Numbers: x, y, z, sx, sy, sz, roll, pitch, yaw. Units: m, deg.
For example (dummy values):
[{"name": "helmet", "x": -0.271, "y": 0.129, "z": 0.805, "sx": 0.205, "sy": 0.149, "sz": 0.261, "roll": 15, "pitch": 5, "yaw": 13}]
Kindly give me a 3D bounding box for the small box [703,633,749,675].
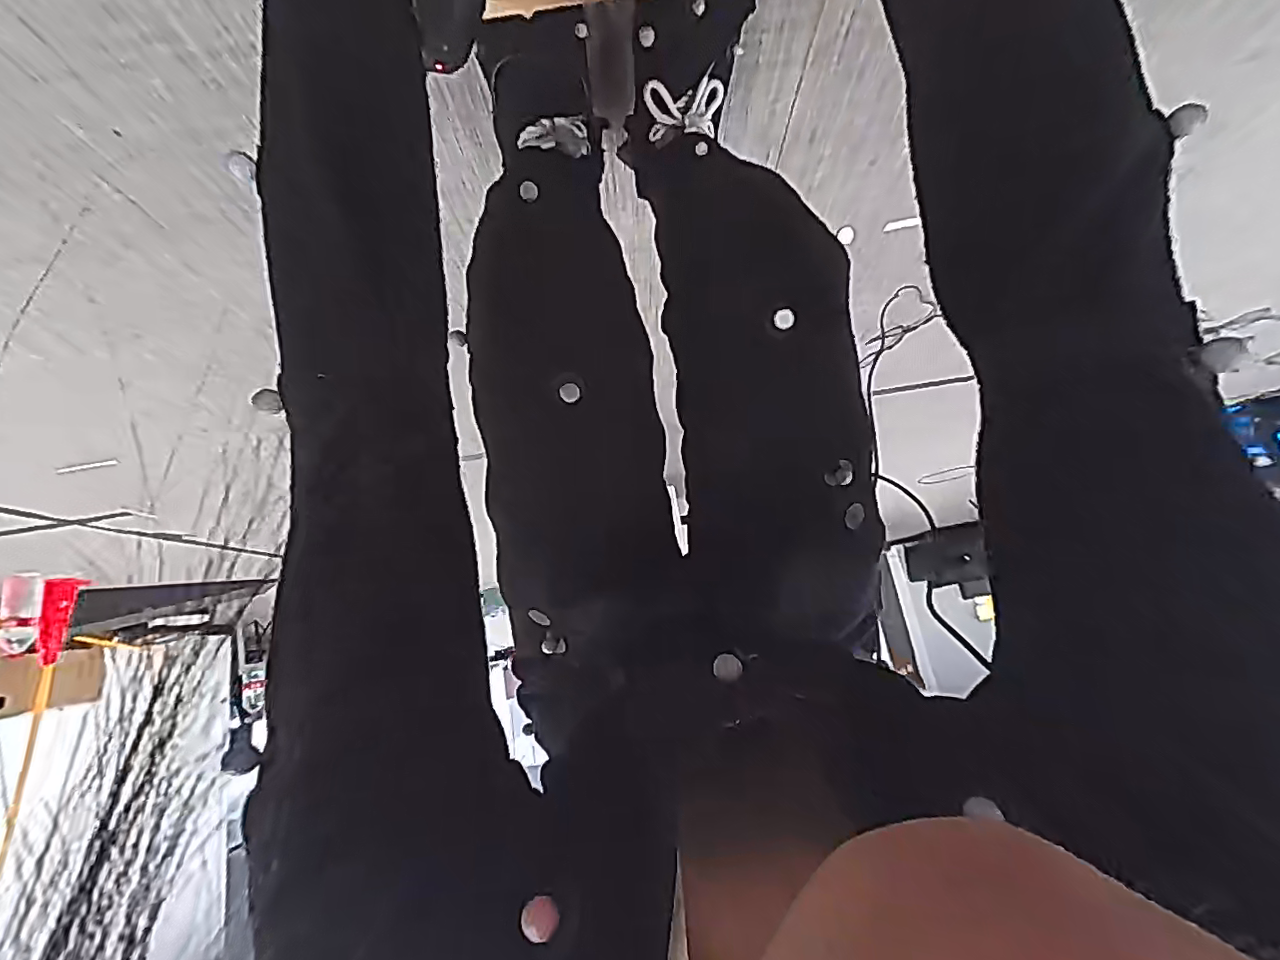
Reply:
[{"name": "small box", "x": 0.410, "y": 0.843, "z": 2.620, "sx": 0.168, "sy": 0.176, "sz": 0.179, "roll": -9, "pitch": 163, "yaw": -8}]
